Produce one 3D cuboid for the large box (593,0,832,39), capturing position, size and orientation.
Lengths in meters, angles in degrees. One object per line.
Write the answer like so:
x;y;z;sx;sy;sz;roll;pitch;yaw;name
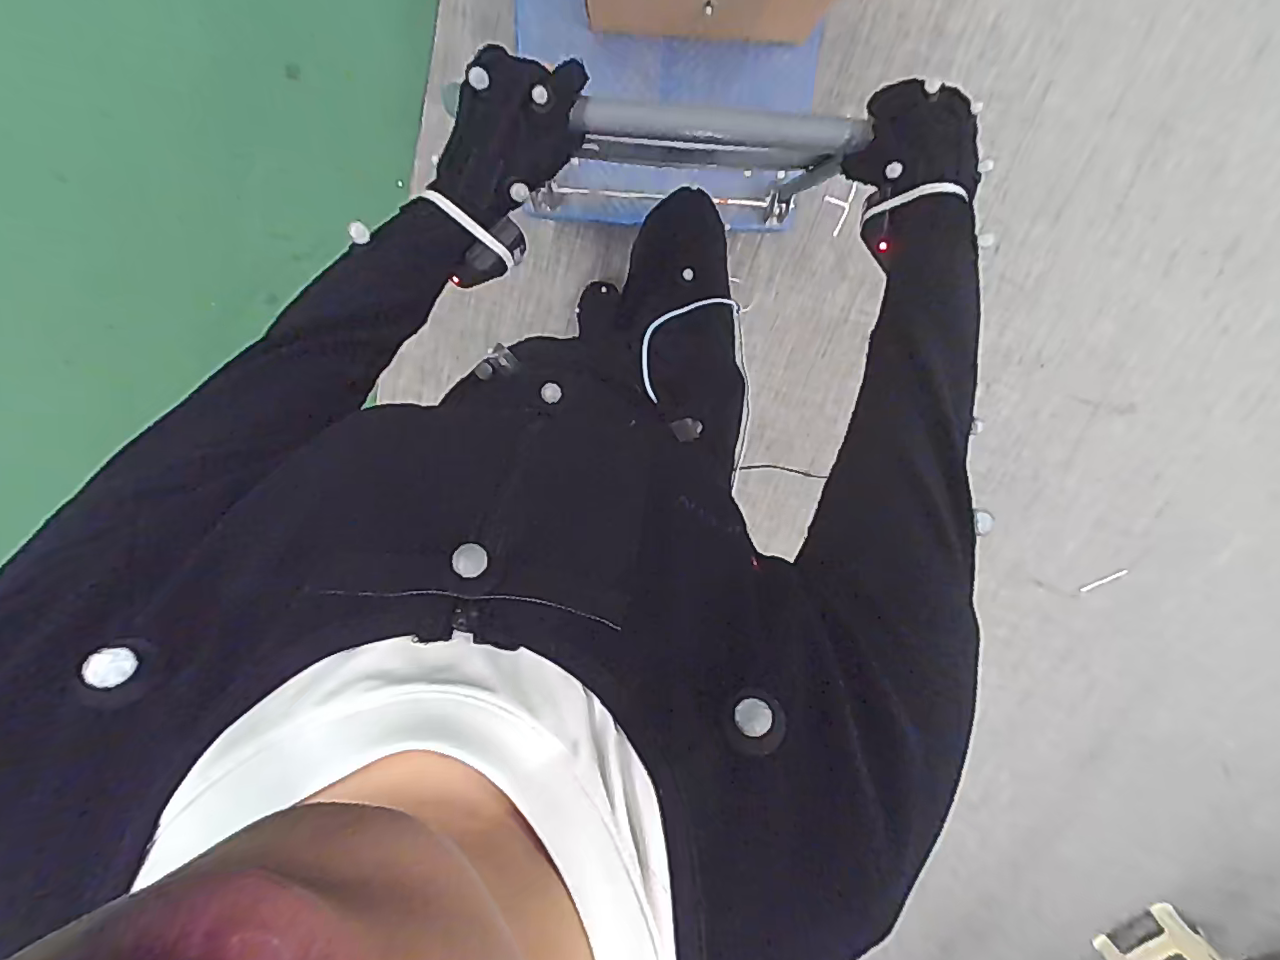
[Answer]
0.123;-0.931;0.838;0.408;0.320;0.320;2;110;0;large box
